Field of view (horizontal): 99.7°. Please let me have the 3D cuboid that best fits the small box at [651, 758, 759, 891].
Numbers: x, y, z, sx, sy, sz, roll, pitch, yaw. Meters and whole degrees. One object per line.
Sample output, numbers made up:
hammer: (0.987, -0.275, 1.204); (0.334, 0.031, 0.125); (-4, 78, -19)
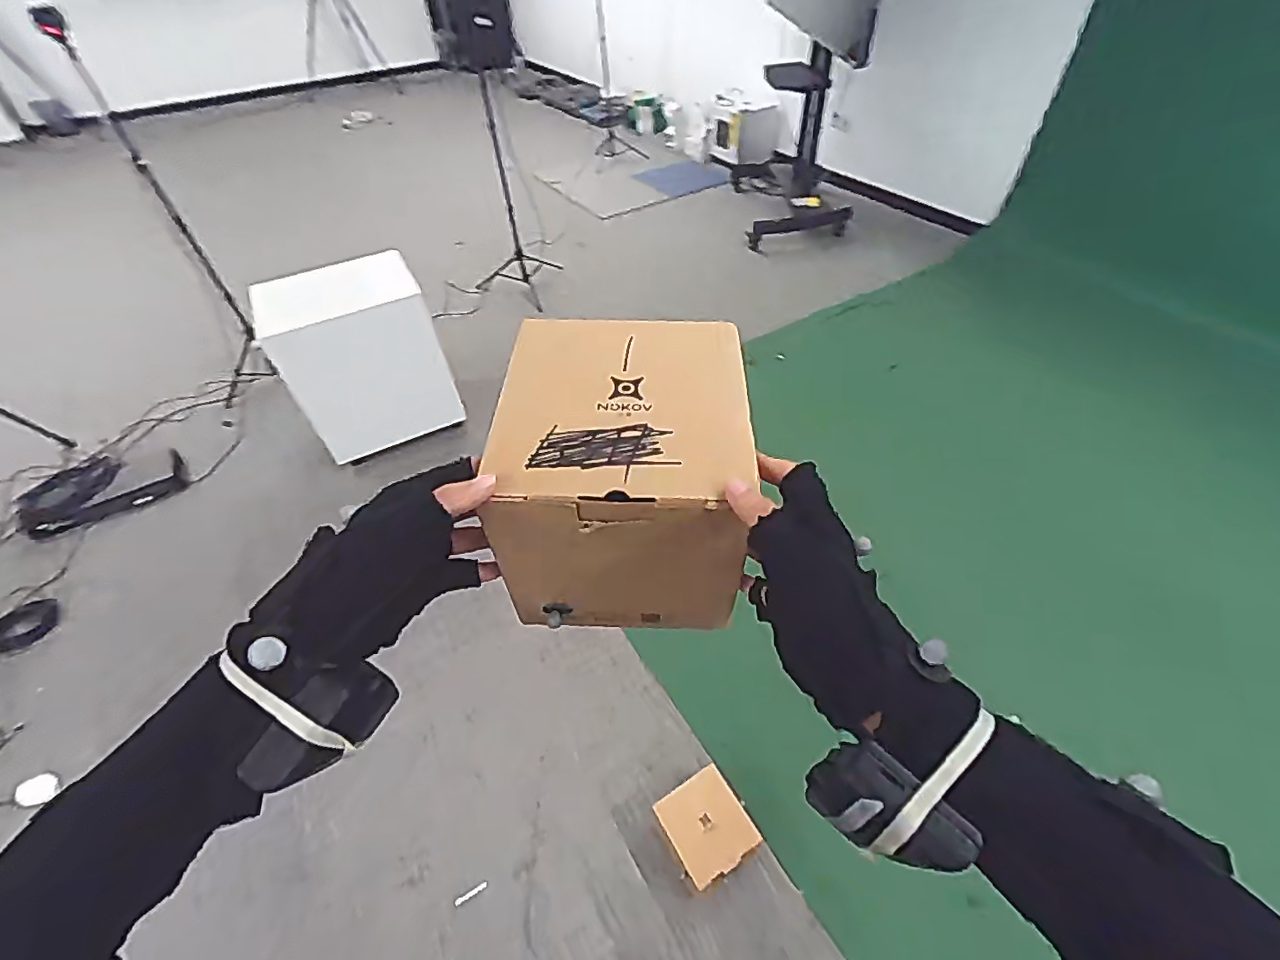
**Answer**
small box: (0.135, 0.763, 1.194); (0.168, 0.176, 0.179); (-26, 52, -20)
